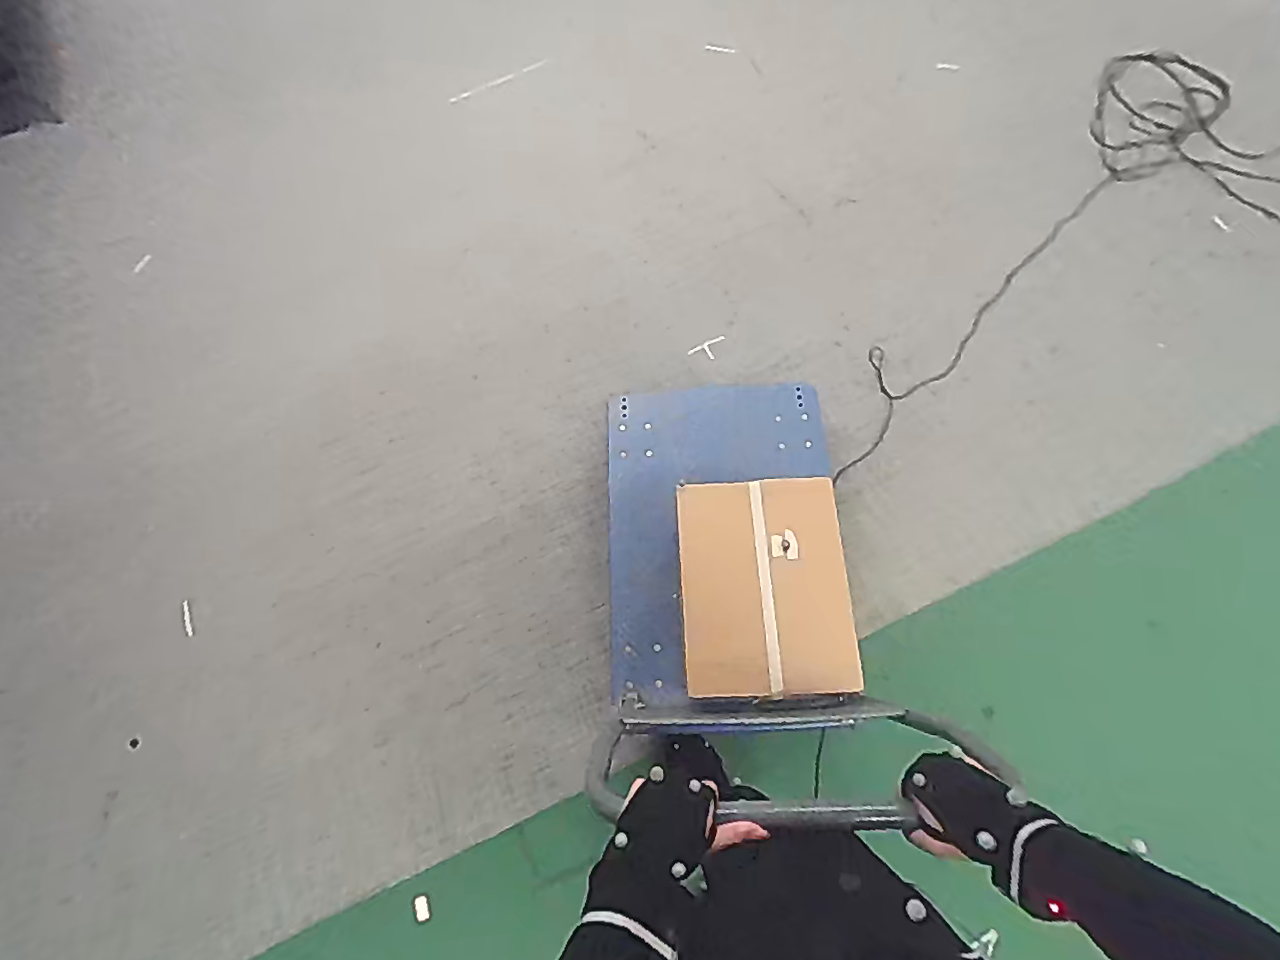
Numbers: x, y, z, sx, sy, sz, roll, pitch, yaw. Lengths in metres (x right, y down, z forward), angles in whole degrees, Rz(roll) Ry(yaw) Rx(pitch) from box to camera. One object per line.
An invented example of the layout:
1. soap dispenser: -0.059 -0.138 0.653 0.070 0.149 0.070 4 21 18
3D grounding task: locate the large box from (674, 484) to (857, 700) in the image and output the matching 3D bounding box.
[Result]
1. large box: 0.243 0.256 1.183 0.320 0.320 0.408 -3 69 3
